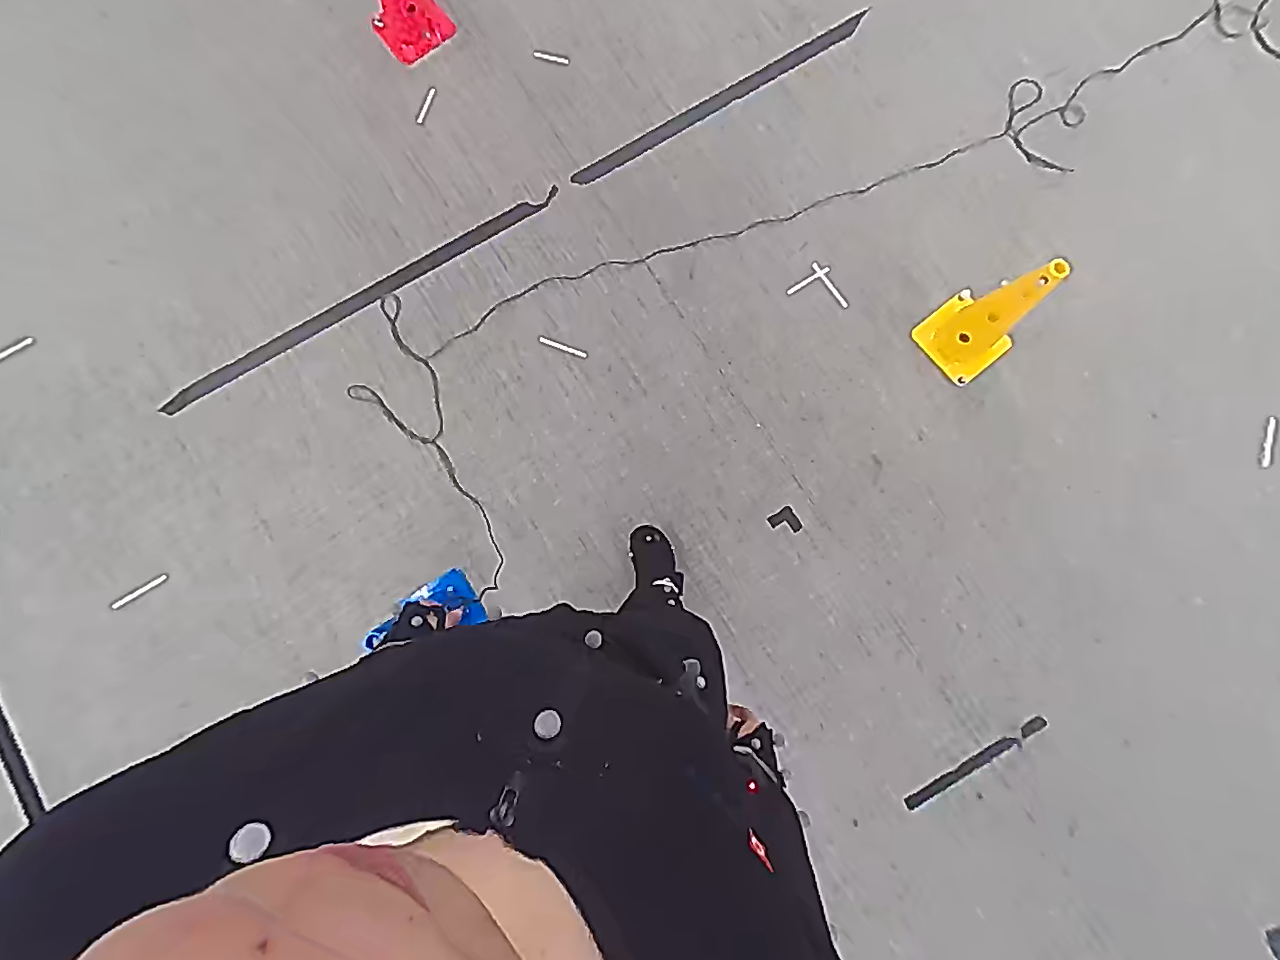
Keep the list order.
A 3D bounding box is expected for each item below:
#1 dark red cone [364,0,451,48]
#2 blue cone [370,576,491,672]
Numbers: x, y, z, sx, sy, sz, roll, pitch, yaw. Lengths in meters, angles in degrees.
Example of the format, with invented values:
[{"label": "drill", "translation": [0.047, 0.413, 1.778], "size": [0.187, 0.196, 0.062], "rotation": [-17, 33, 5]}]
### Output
[{"label": "dark red cone", "translation": [-0.682, -1.399, 1.424], "size": [0.202, 0.394, 0.201], "rotation": [-39, 84, -4]}, {"label": "blue cone", "translation": [-0.492, 0.336, 1.193], "size": [0.193, 0.380, 0.192], "rotation": [-31, 83, -3]}]
